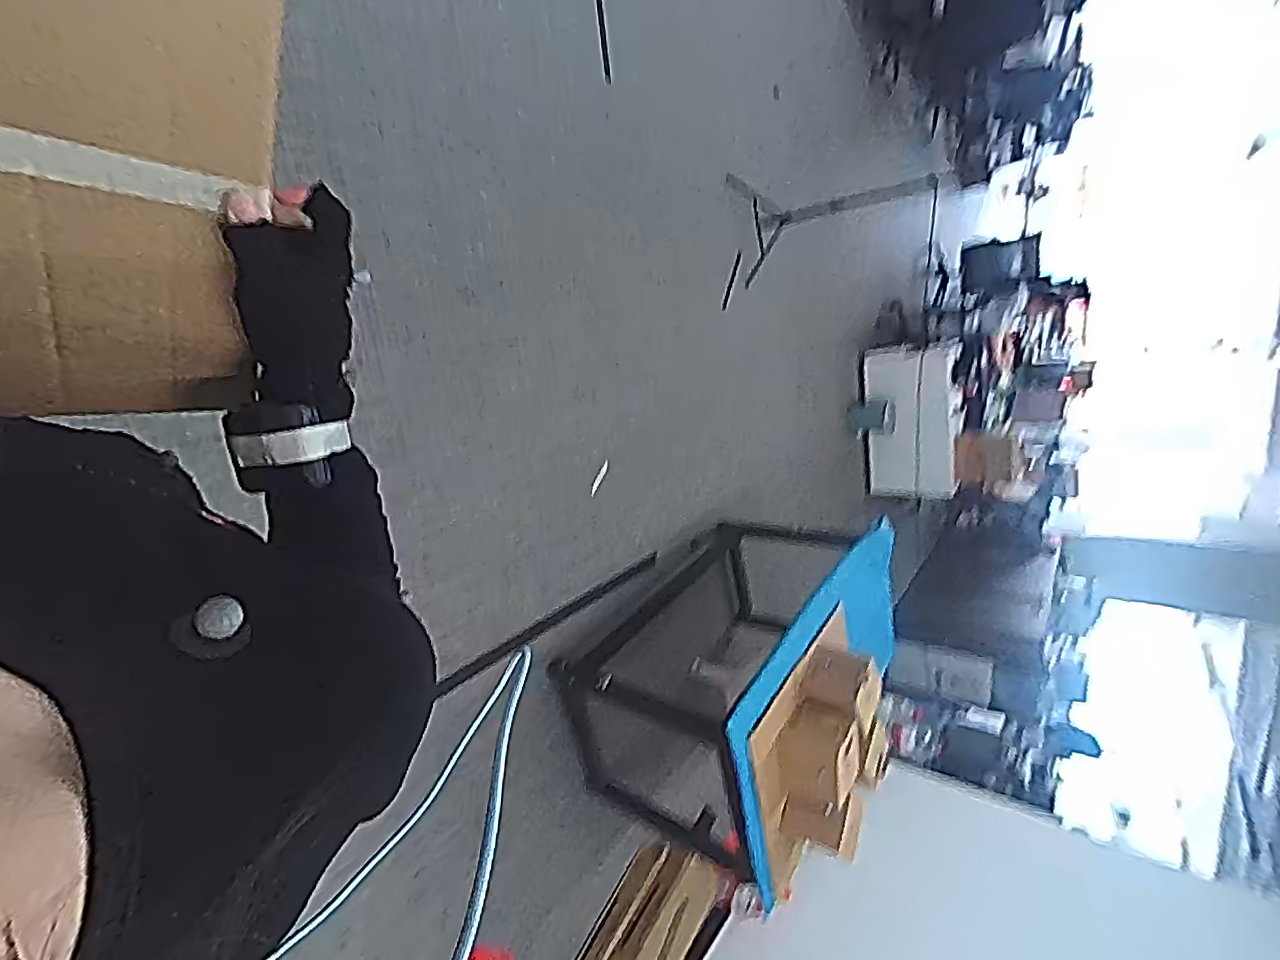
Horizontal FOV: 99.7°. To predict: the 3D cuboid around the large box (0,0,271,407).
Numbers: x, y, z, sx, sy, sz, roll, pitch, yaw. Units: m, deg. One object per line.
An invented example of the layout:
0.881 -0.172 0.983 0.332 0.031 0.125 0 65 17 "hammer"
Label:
-0.467 -0.244 0.265 0.408 0.320 0.320 -11 139 -48 "large box"
